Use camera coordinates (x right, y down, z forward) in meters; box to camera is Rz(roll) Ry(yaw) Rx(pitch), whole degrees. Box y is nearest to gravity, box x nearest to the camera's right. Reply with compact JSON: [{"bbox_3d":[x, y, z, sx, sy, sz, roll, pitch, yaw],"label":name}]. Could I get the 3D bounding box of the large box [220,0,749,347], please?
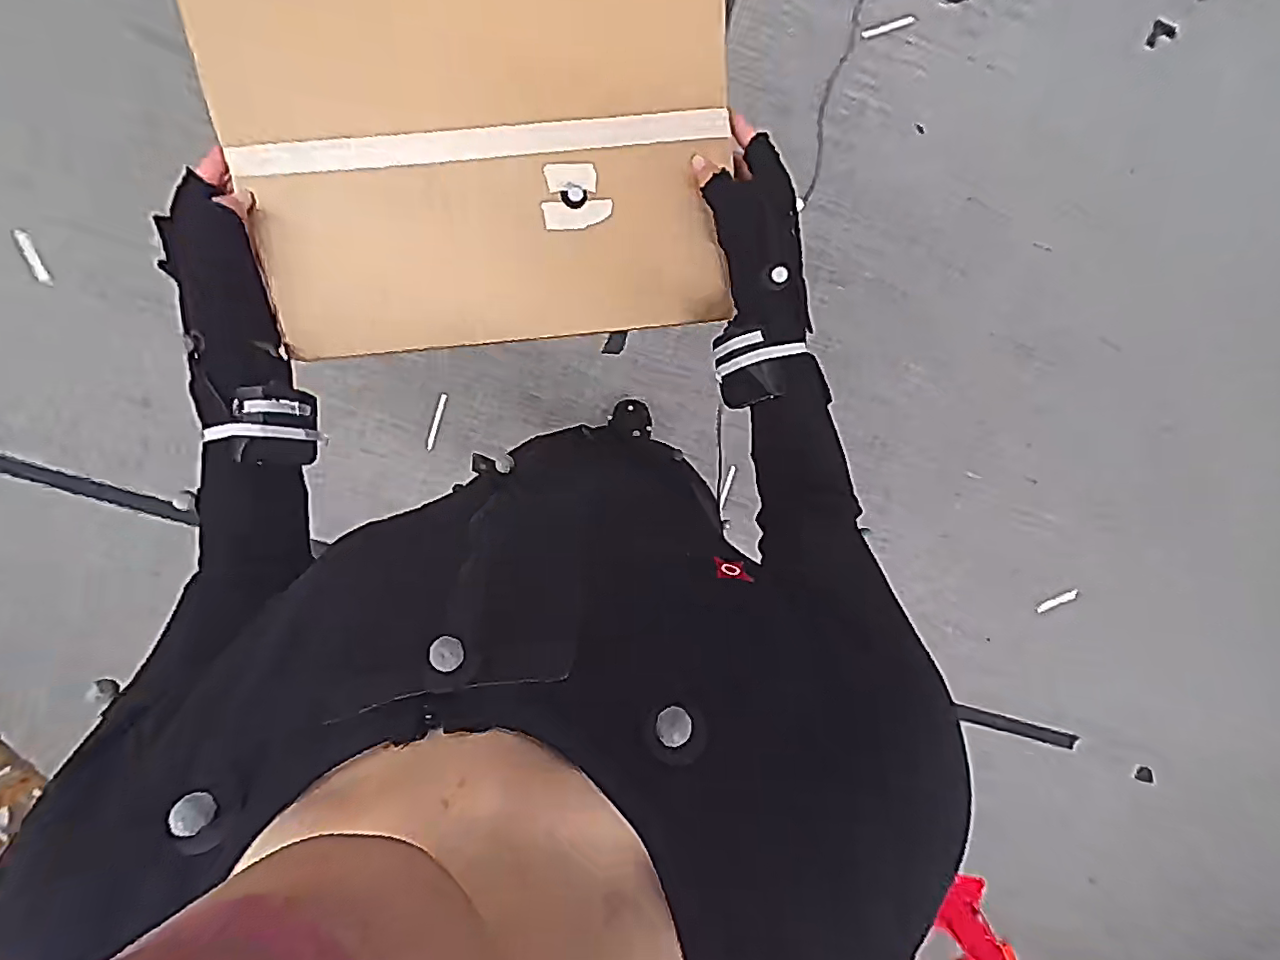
[{"bbox_3d":[-0.124,-0.331,0.585,0.408,0.320,0.320,-6,110,-4],"label":"large box"}]
